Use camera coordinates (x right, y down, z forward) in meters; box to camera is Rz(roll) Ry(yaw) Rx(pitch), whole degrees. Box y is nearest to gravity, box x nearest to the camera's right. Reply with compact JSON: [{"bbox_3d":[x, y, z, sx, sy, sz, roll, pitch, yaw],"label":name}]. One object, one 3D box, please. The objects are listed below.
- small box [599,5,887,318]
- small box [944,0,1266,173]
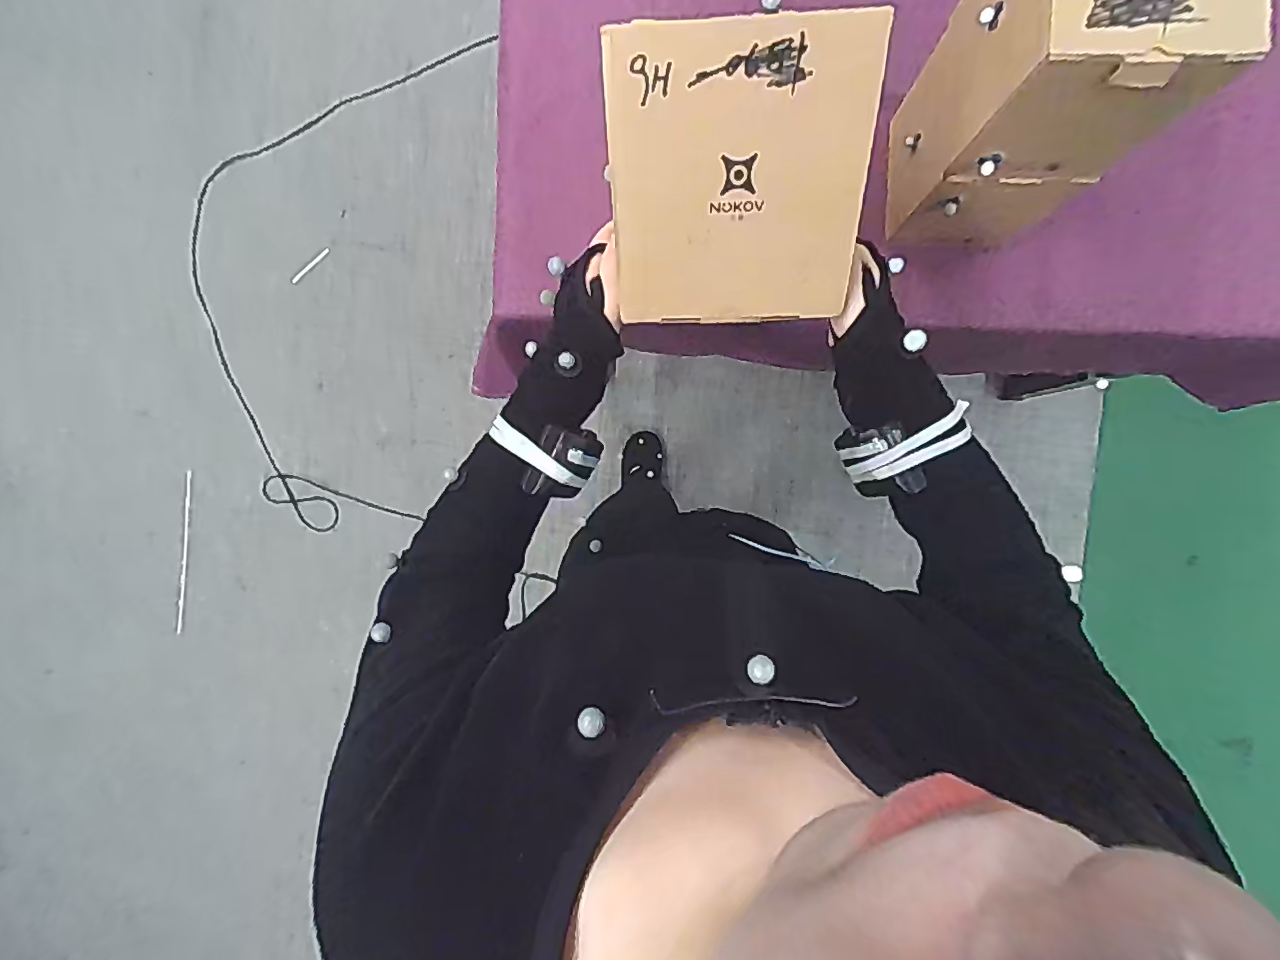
[{"bbox_3d":[0.065,-0.240,0.418,0.168,0.176,0.179,-1,126,4],"label":"small box"},{"bbox_3d":[0.407,-0.414,0.503,0.168,0.176,0.179,2,88,3],"label":"small box"}]
